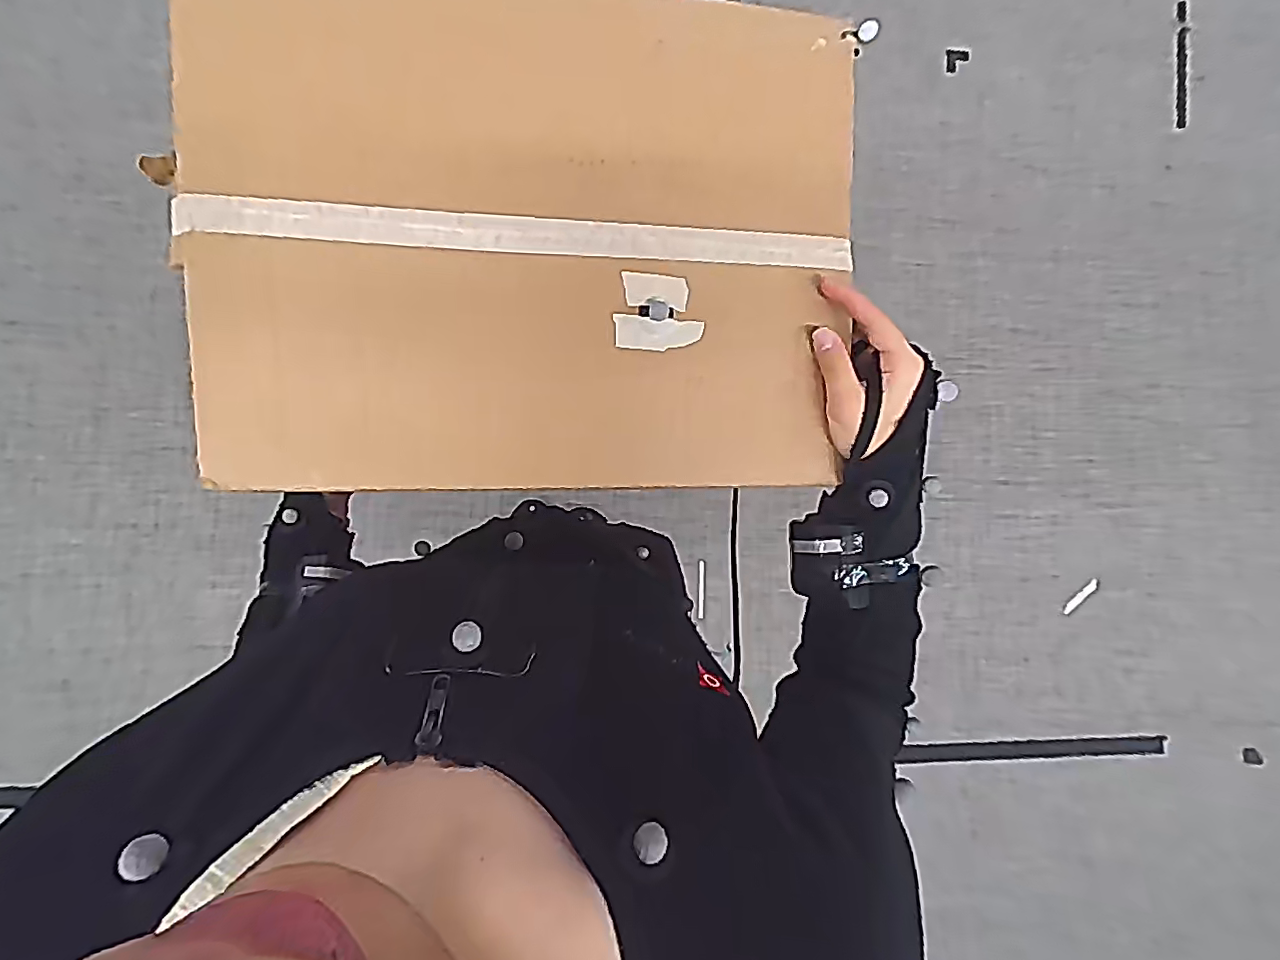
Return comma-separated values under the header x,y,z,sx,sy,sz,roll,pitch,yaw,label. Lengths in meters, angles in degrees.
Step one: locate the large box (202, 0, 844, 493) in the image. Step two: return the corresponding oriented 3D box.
x,y,z,sx,sy,sz,roll,pitch,yaw,label
-0.081,-0.161,0.495,0.408,0.320,0.320,-1,95,-11,large box
